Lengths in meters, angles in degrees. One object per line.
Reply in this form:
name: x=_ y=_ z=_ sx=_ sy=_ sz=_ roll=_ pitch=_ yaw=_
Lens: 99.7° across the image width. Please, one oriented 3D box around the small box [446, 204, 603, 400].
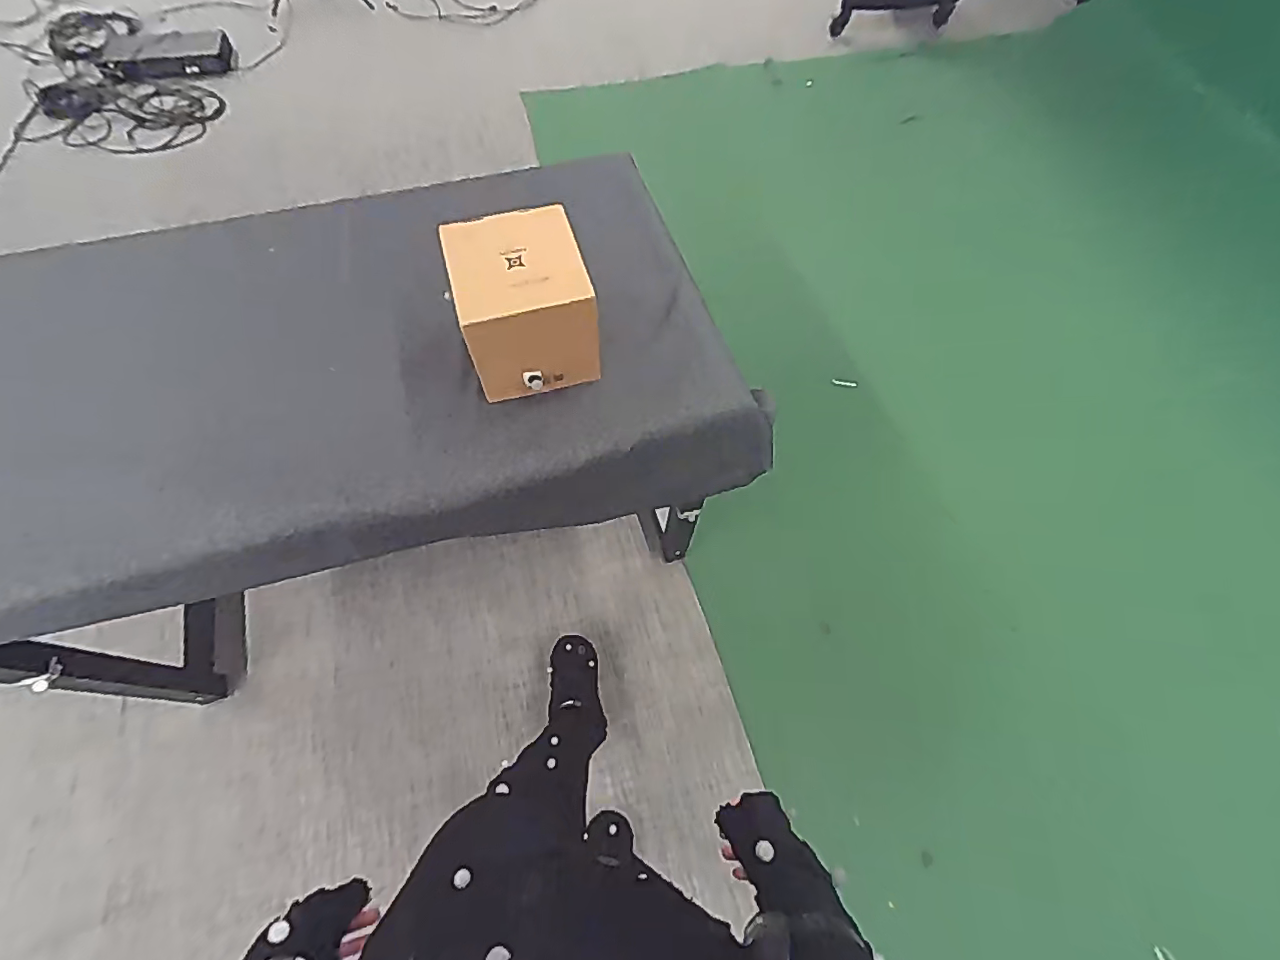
small box: x=-0.153 y=-0.241 z=0.749 sx=0.168 sy=0.176 sz=0.179 roll=-16 pitch=66 yaw=-8
